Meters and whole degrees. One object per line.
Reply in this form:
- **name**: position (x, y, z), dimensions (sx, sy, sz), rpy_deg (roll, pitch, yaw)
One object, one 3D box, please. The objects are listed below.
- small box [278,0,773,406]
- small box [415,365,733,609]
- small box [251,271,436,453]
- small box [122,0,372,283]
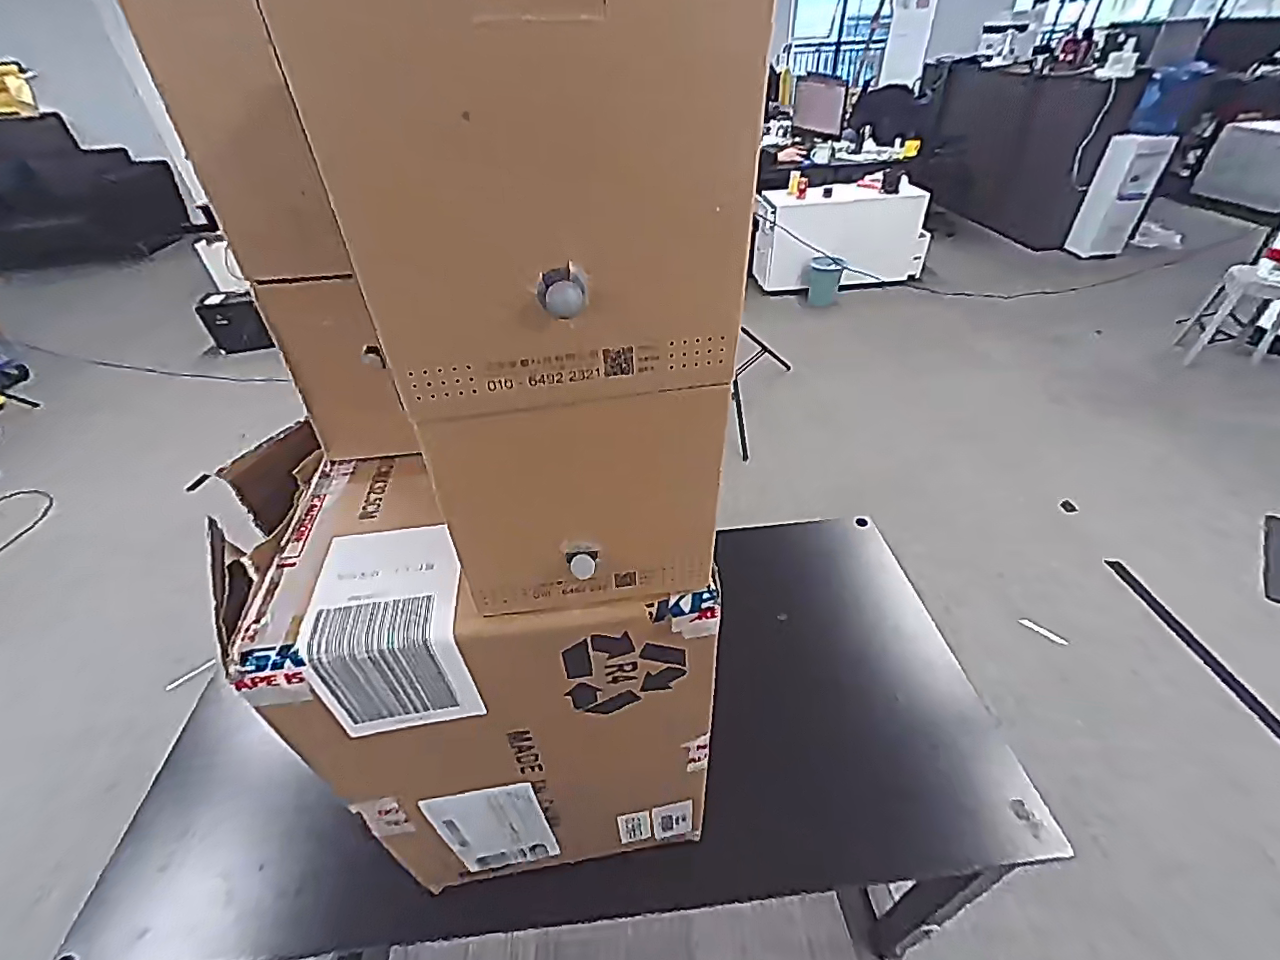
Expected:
- **small box**: position (-0.049, -0.158, 0.280), dimensions (0.168, 0.176, 0.179), rpy_deg (-9, 41, -8)
- **small box**: position (-0.043, -0.034, 0.389), dimensions (0.168, 0.176, 0.179), rpy_deg (-6, 41, -6)
- **small box**: position (-0.215, -0.139, 0.522), dimensions (0.179, 0.176, 0.168), rpy_deg (-7, 38, -6)
- **small box**: position (-0.217, -0.265, 0.418), dimensions (0.179, 0.176, 0.168), rpy_deg (-9, 38, -8)
